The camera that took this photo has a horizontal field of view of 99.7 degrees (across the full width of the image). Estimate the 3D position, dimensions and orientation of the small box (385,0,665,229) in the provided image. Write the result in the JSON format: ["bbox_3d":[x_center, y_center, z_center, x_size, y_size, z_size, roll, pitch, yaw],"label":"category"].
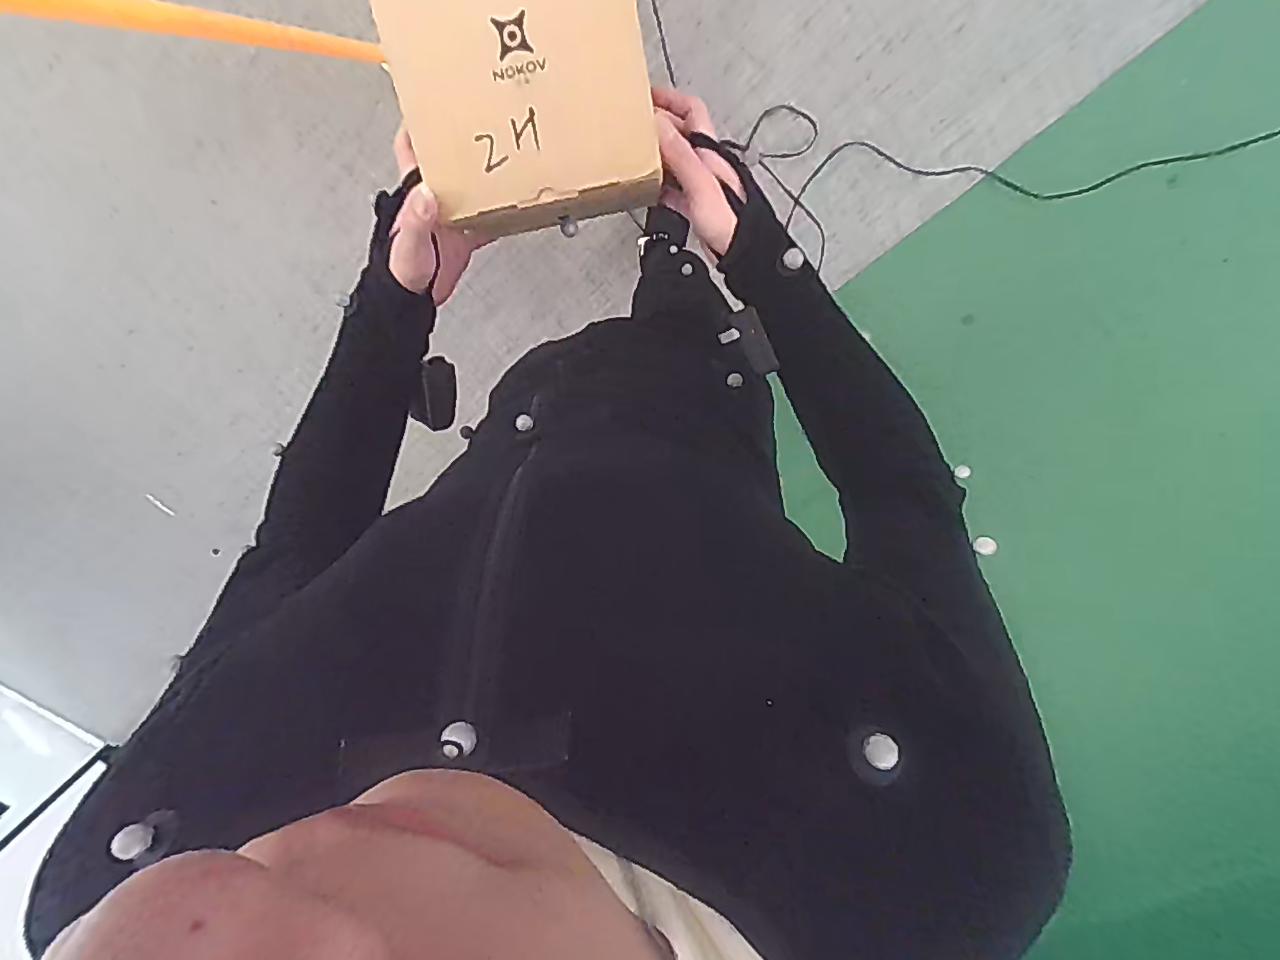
[{"bbox_3d":[-0.077,-0.310,0.426,0.168,0.176,0.179,-9,112,4],"label":"small box"}]
